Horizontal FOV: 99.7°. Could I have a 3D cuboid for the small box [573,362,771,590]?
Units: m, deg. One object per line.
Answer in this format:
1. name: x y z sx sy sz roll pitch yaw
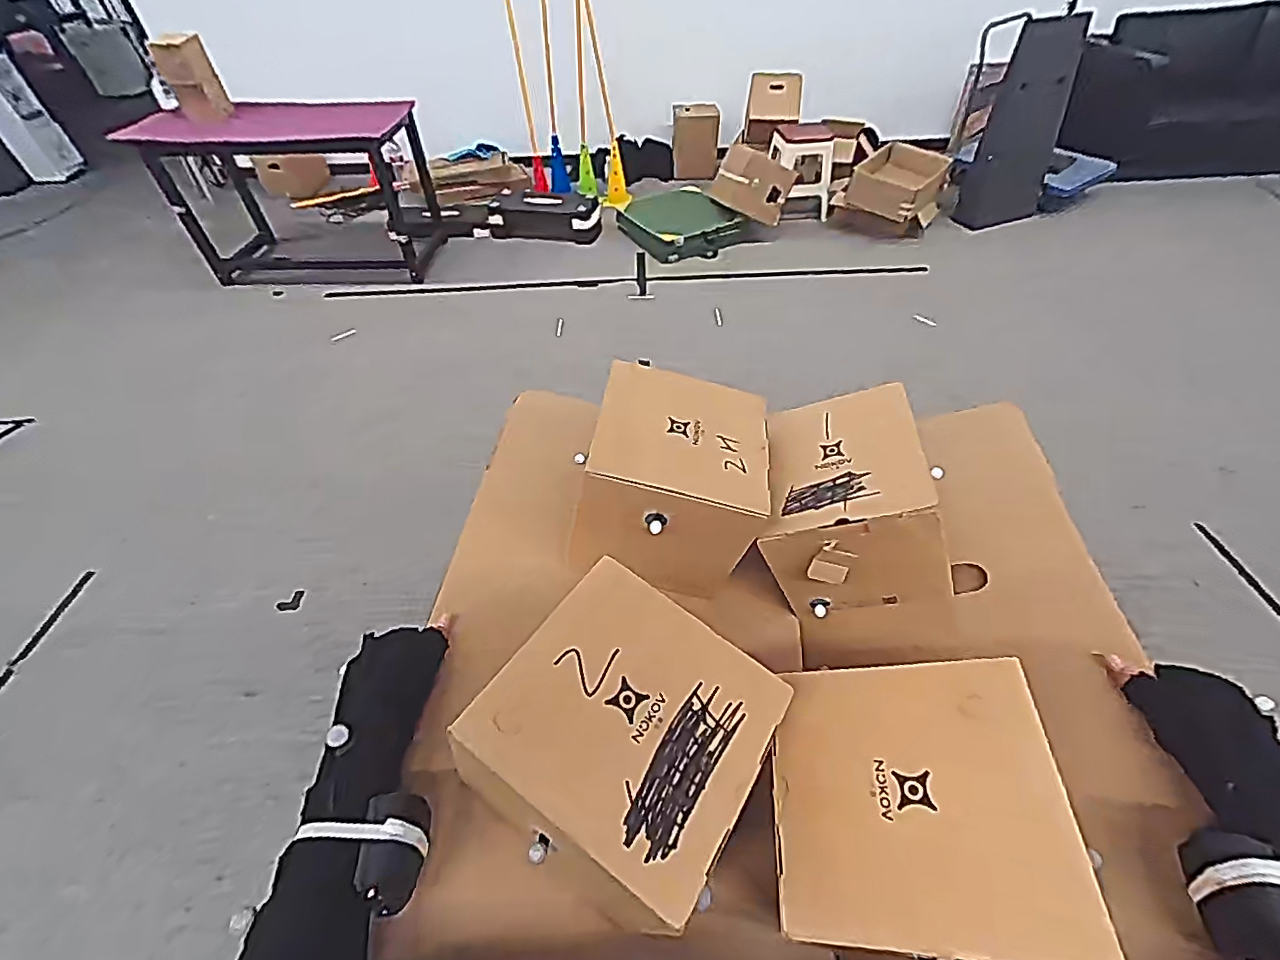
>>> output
1. small box: 0.031 0.002 0.600 0.179 0.176 0.168 15 50 -4
